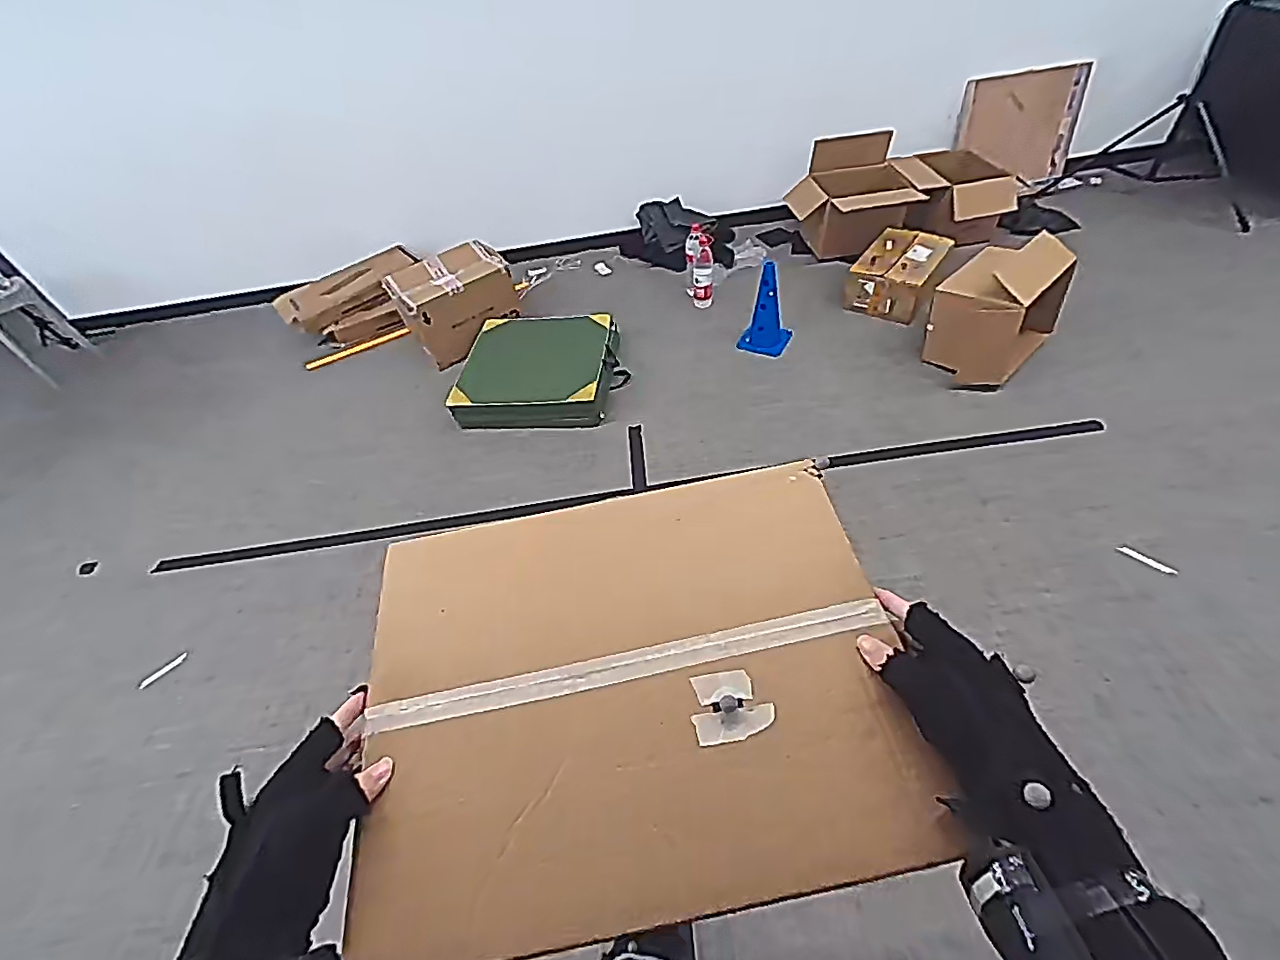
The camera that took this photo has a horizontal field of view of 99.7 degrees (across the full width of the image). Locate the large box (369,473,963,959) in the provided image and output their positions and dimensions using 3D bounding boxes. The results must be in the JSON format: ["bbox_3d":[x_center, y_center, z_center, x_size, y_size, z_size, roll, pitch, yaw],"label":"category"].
[{"bbox_3d":[0.007,0.239,0.553,0.408,0.320,0.320,-11,54,-2],"label":"large box"}]
